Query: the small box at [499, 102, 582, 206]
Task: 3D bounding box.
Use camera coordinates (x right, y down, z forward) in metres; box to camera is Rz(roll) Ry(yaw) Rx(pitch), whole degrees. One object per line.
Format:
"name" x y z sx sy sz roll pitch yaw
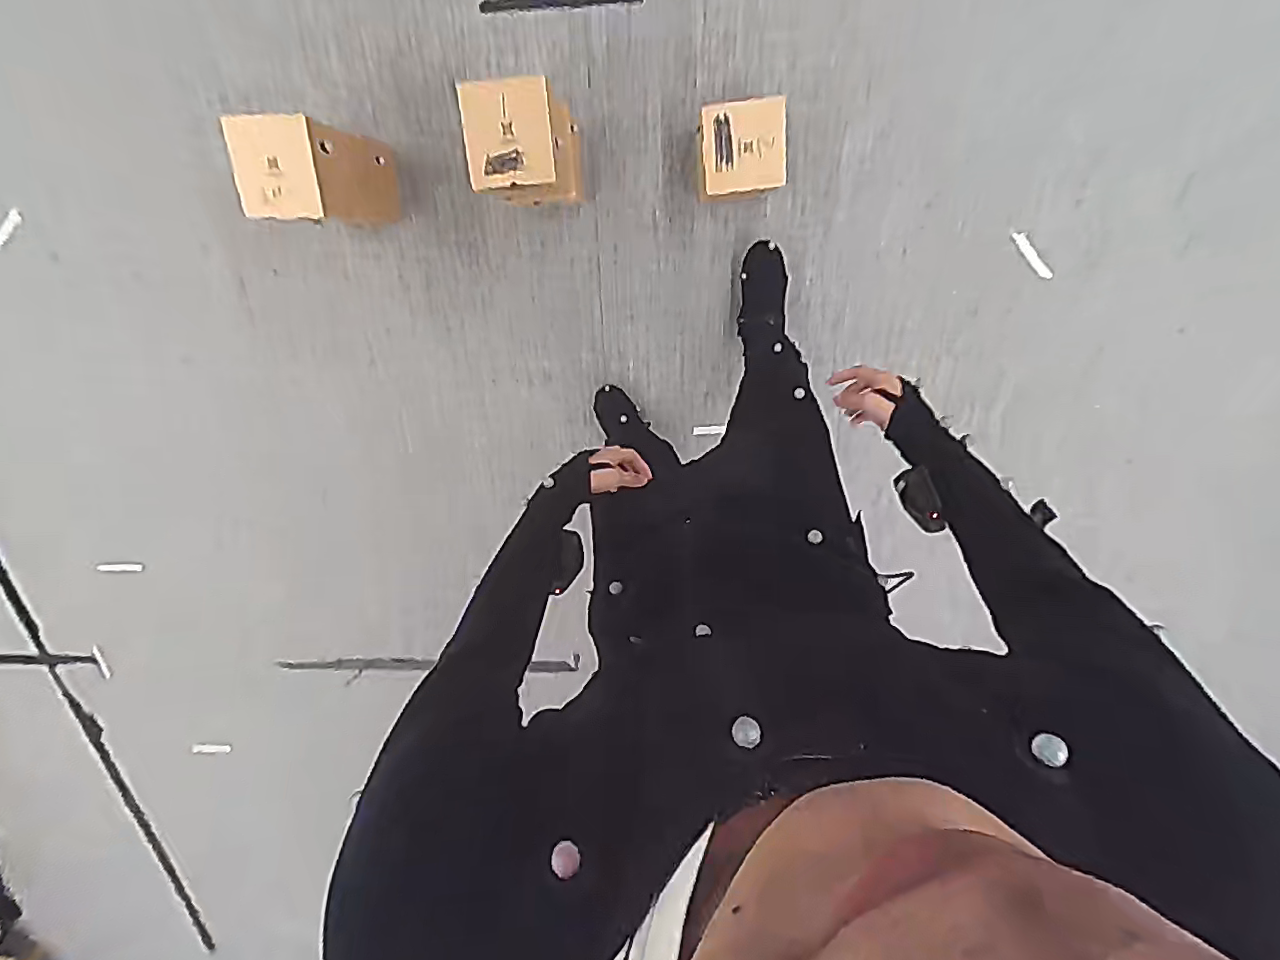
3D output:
"small box" -0.229 -0.724 1.222 0.168 0.176 0.179 -3 111 3

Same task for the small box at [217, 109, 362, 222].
"small box" -0.697 -0.629 1.099 0.168 0.176 0.179 2 113 3

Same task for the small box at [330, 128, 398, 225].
"small box" -0.683 -0.694 1.249 0.168 0.176 0.179 2 112 2

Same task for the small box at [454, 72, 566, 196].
"small box" -0.245 -0.669 1.068 0.168 0.176 0.179 -3 110 3
